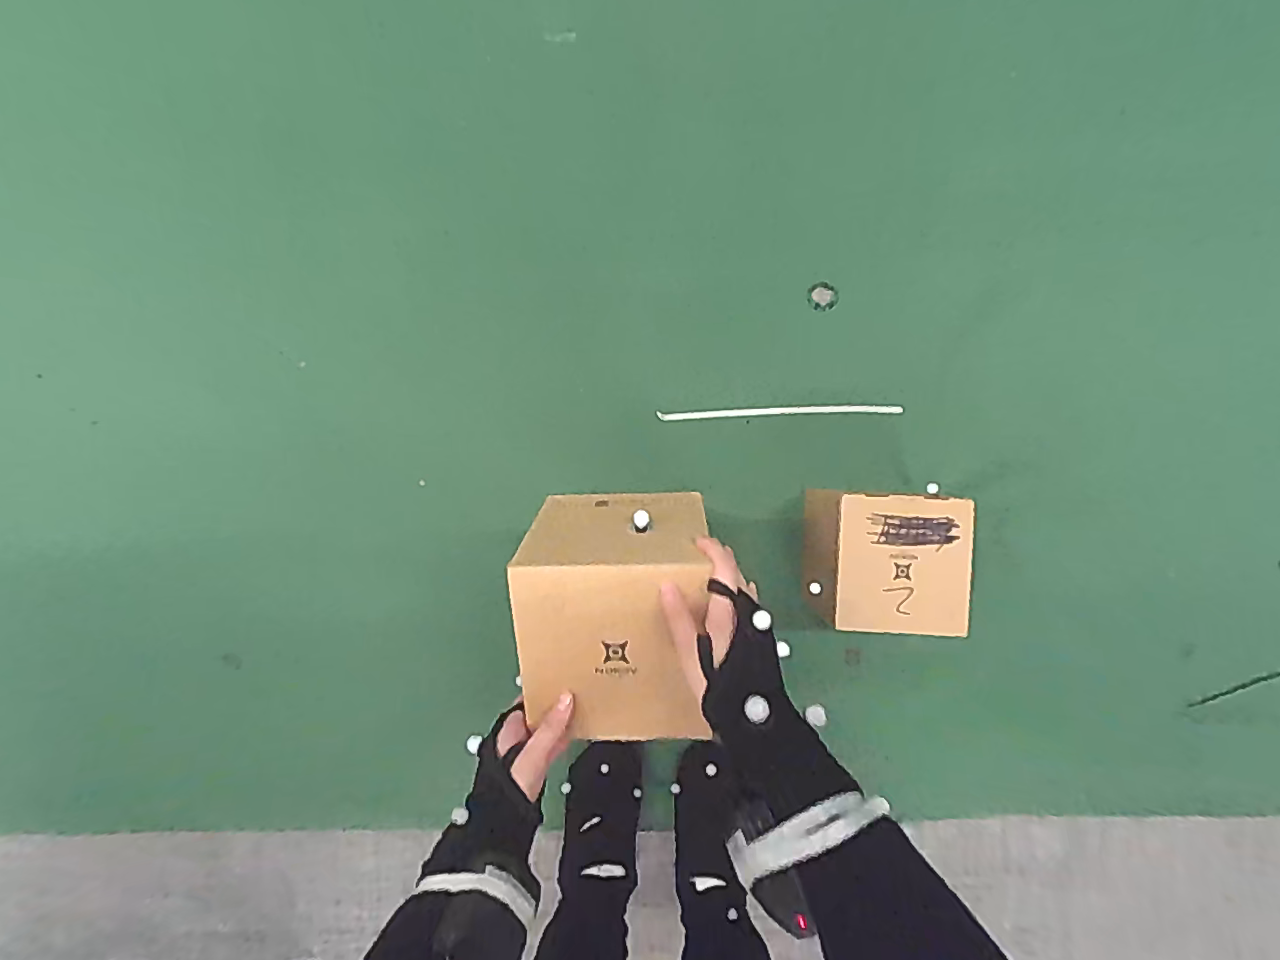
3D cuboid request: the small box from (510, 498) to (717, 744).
[{"bbox_3d":[-0.017,0.122,0.523,0.168,0.176,0.179,-2,111,3],"label":"small box"}]
